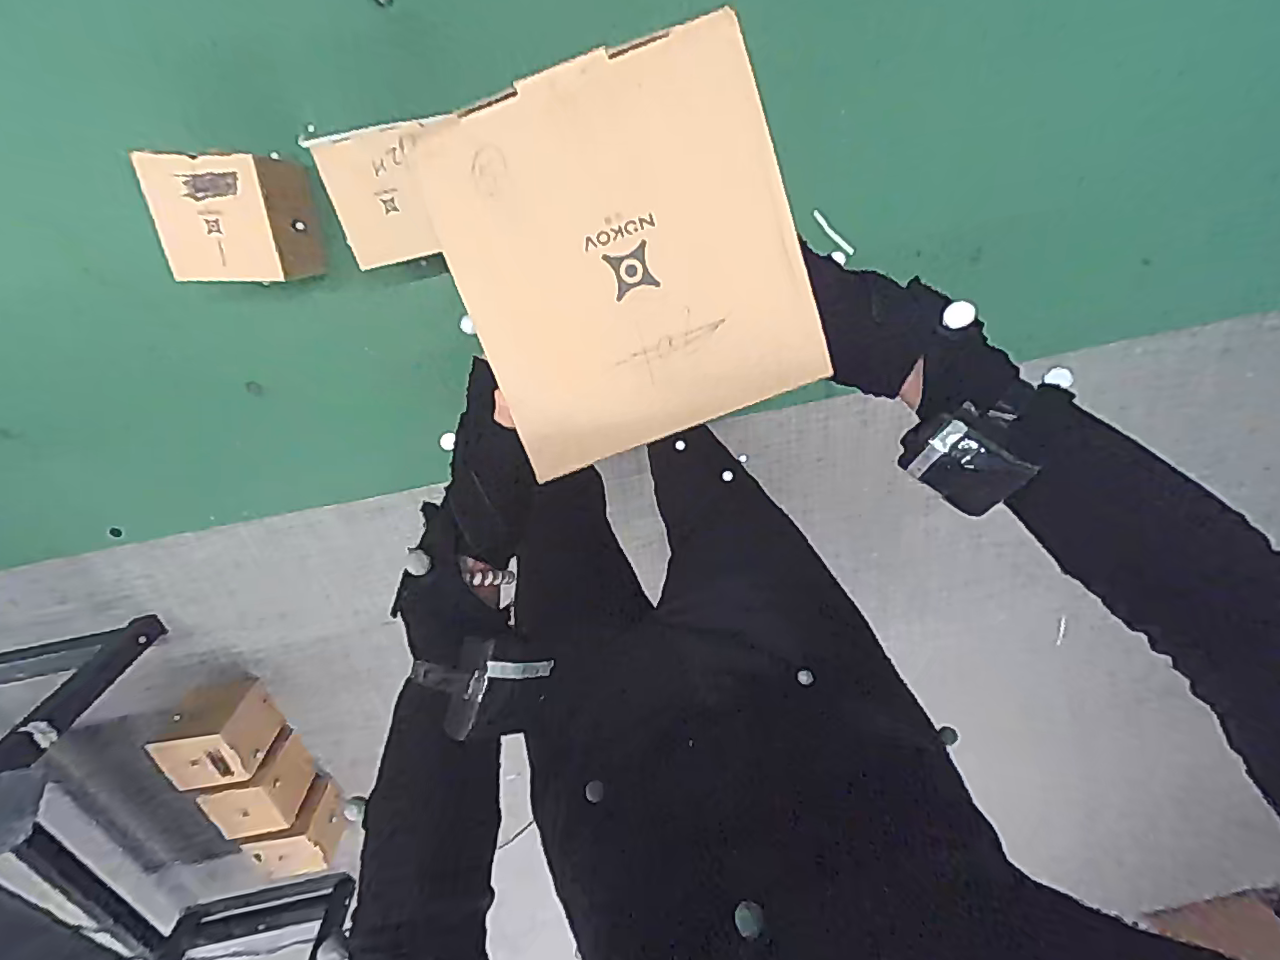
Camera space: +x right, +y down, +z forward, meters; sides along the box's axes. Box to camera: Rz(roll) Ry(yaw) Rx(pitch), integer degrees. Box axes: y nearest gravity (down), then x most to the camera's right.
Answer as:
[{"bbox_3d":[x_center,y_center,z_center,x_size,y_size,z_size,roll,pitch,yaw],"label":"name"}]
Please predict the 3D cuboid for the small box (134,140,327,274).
[{"bbox_3d":[-0.641,-0.436,0.874,0.168,0.176,0.179,-1,117,-6],"label":"small box"}]

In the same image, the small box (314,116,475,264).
[{"bbox_3d":[-0.385,-0.469,0.887,0.168,0.176,0.179,-13,116,-1],"label":"small box"}]
